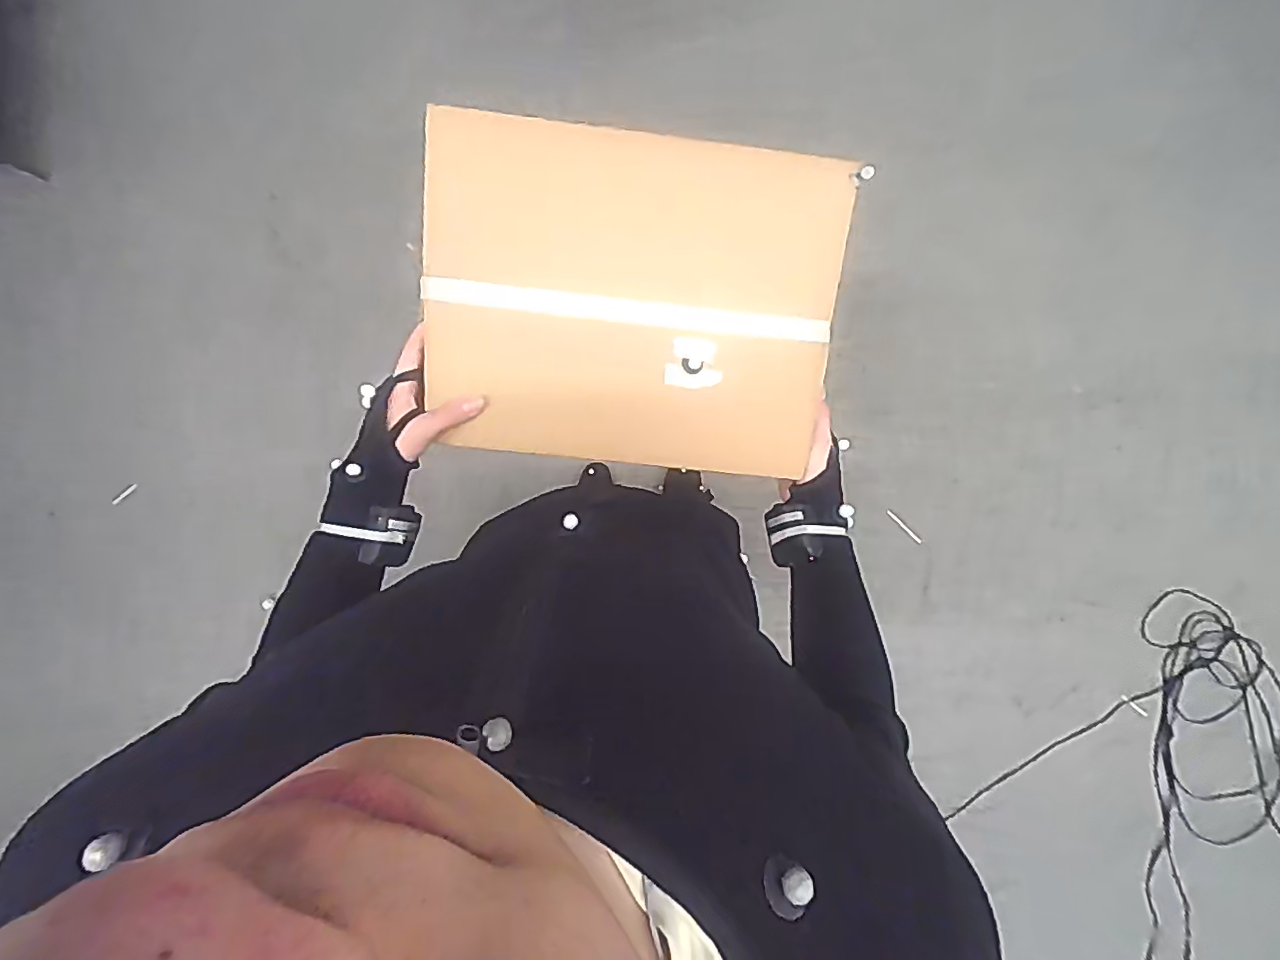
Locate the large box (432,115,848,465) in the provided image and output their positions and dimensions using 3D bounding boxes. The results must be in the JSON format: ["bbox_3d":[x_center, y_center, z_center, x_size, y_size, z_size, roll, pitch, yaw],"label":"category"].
[{"bbox_3d":[-0.015,-0.212,0.689,0.408,0.320,0.320,5,105,-4],"label":"large box"}]

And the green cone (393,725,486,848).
[{"bbox_3d":[-0.588,0.872,1.507,0.200,0.368,0.202,6,93,1],"label":"green cone"}]
